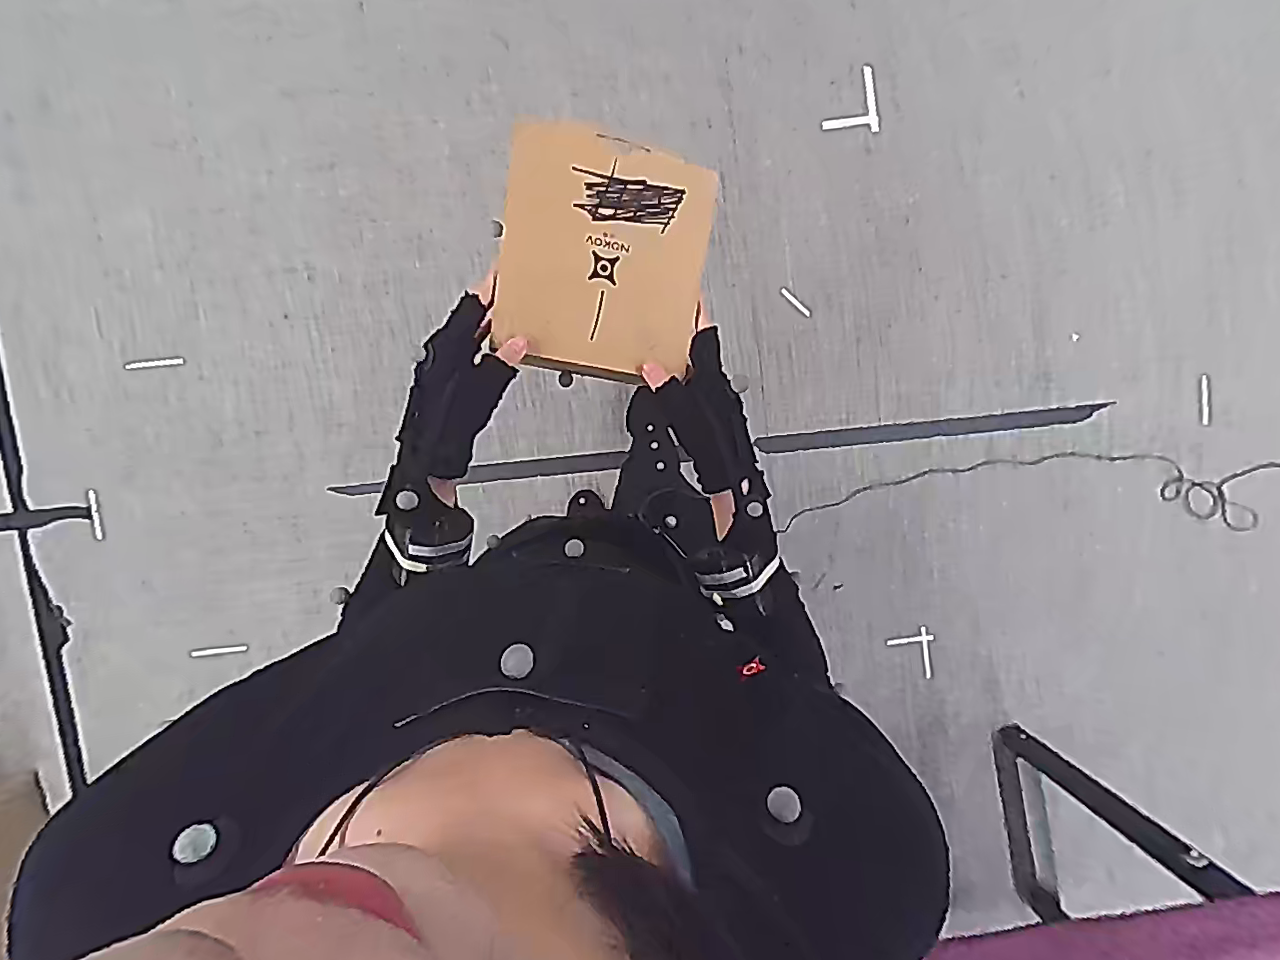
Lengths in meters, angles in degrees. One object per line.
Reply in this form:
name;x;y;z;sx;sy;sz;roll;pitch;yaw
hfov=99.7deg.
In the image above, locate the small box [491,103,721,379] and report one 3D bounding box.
small box;-0.044;-0.195;0.503;0.168;0.176;0.179;8;98;-15
